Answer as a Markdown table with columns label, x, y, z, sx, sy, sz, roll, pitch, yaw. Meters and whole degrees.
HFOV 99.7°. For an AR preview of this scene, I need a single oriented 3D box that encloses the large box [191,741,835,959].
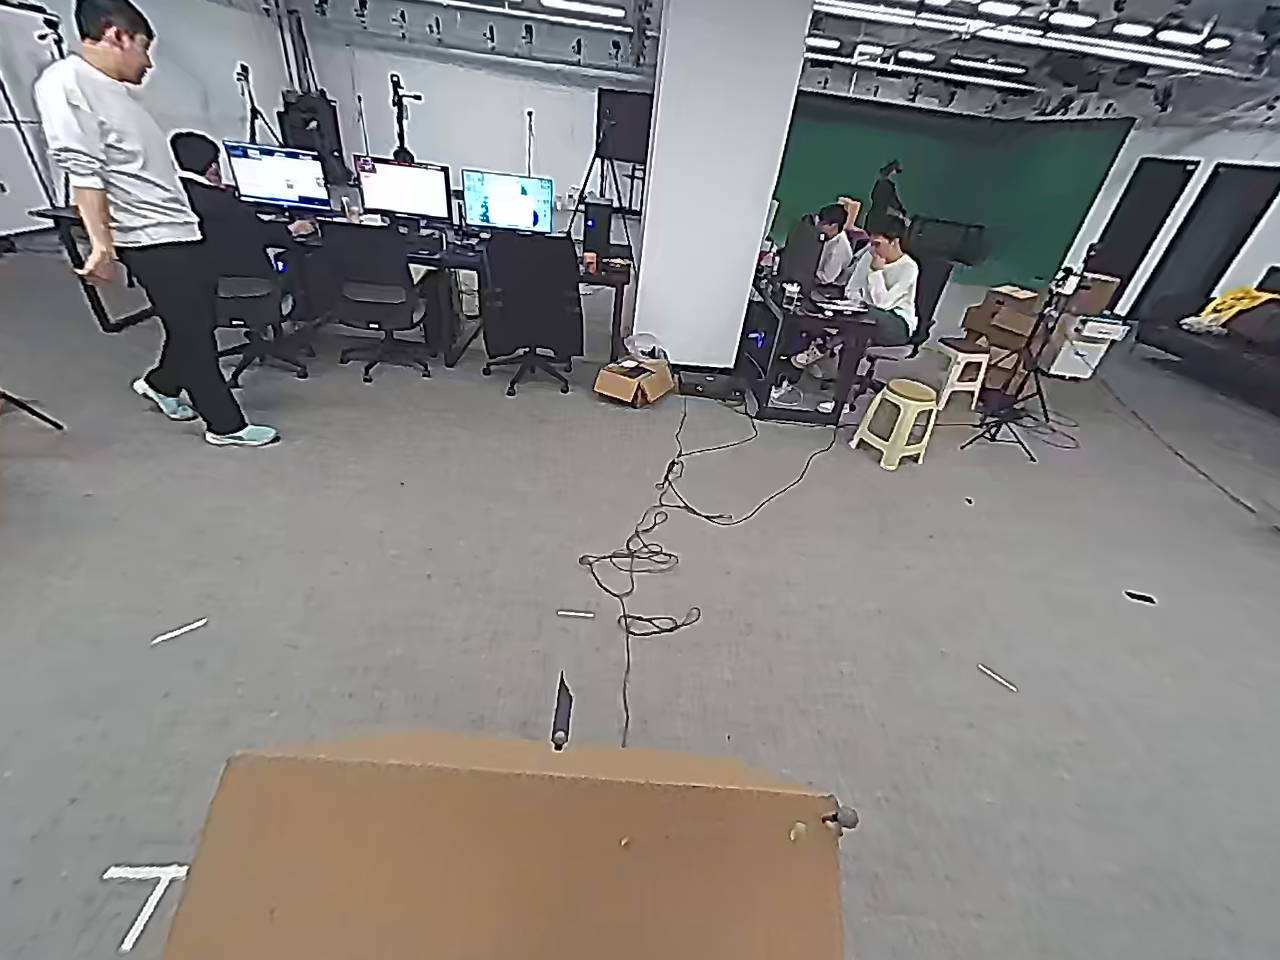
| label | x | y | z | sx | sy | sz | roll | pitch | yaw |
| --- | --- | --- | --- | --- | --- | --- | --- | --- | --- |
| large box | -0.087 | 0.402 | 0.451 | 0.408 | 0.320 | 0.320 | 5 | 69 | -2 |
